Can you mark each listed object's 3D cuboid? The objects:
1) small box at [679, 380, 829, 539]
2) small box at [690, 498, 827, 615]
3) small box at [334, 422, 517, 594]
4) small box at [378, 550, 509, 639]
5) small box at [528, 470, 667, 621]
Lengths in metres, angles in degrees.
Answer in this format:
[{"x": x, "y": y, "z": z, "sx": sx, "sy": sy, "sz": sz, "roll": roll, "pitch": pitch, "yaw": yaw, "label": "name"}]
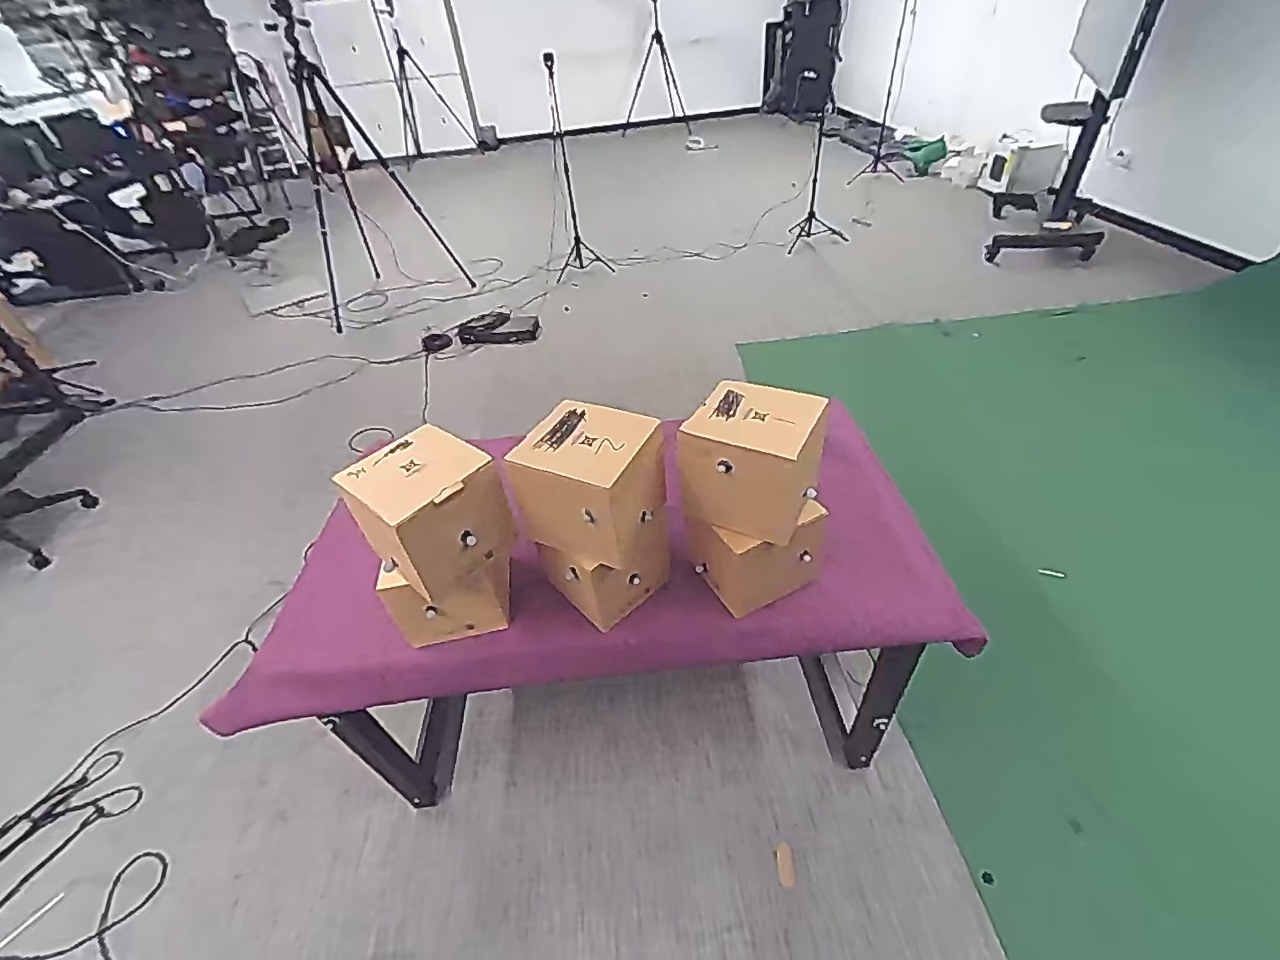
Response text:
[{"x": 0.176, "y": -0.033, "z": 0.844, "sx": 0.179, "sy": 0.176, "sz": 0.168, "roll": 17, "pitch": 45, "yaw": 26, "label": "small box"}, {"x": 0.194, "y": 0.098, "z": 0.941, "sx": 0.179, "sy": 0.176, "sz": 0.168, "roll": -22, "pitch": 42, "yaw": -16, "label": "small box"}, {"x": -0.313, "y": 0.045, "z": 0.819, "sx": 0.179, "sy": 0.176, "sz": 0.168, "roll": 26, "pitch": 50, "yaw": 32, "label": "small box"}, {"x": -0.328, "y": 0.157, "z": 0.943, "sx": 0.168, "sy": 0.176, "sz": 0.179, "roll": -11, "pitch": 40, "yaw": -5, "label": "small box"}, {"x": -0.066, "y": 0.119, "z": 0.948, "sx": 0.168, "sy": 0.176, "sz": 0.179, "roll": -33, "pitch": 47, "yaw": -28, "label": "small box"}]
